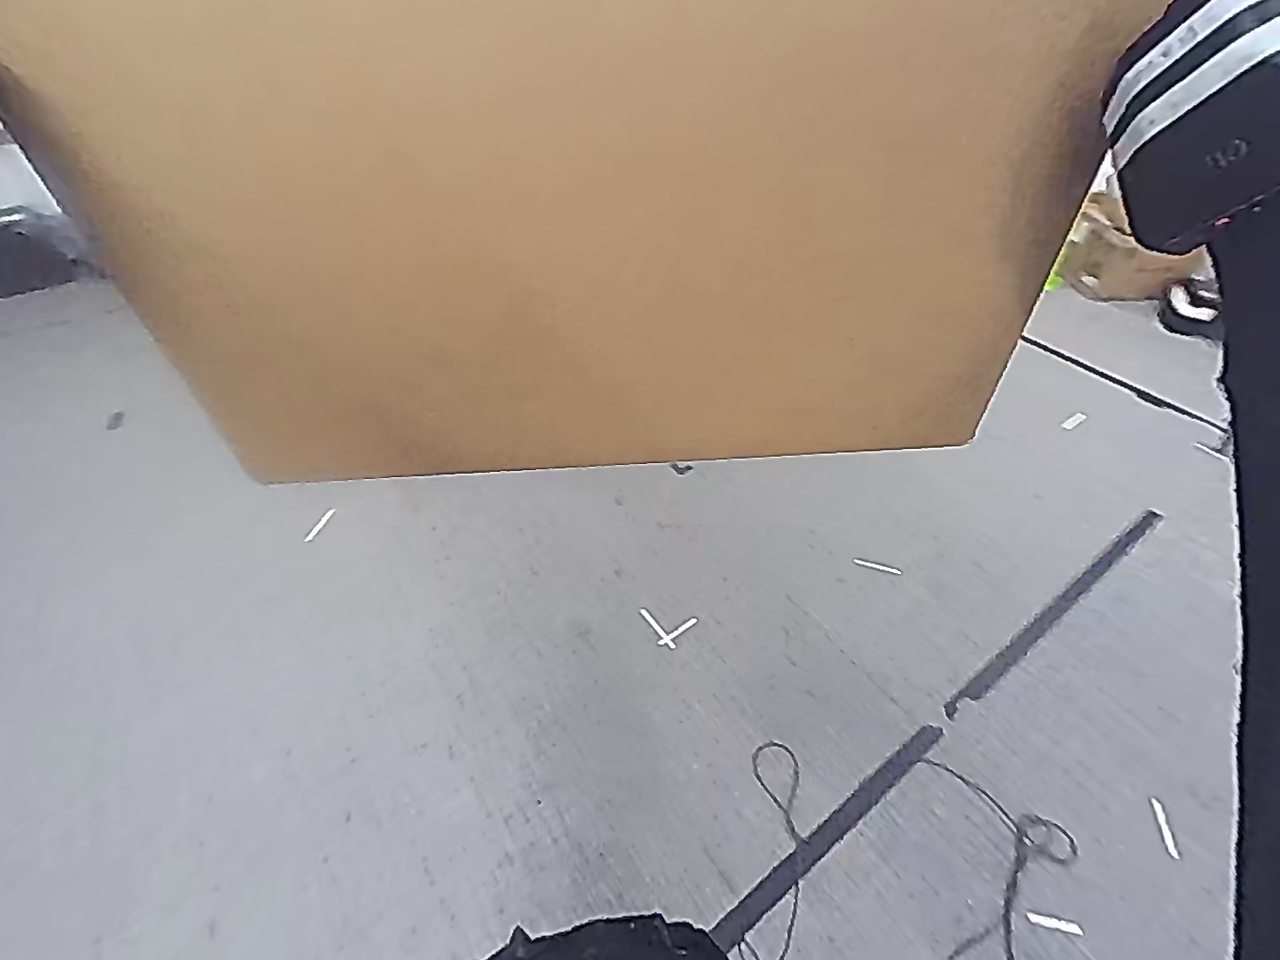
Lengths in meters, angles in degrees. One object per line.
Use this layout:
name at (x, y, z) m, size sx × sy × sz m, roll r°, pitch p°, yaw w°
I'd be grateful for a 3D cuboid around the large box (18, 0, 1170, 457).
large box at (-0.015, -0.229, 0.321) m, size 0.408 × 0.320 × 0.320 m, roll -2°, pitch 42°, yaw -1°
